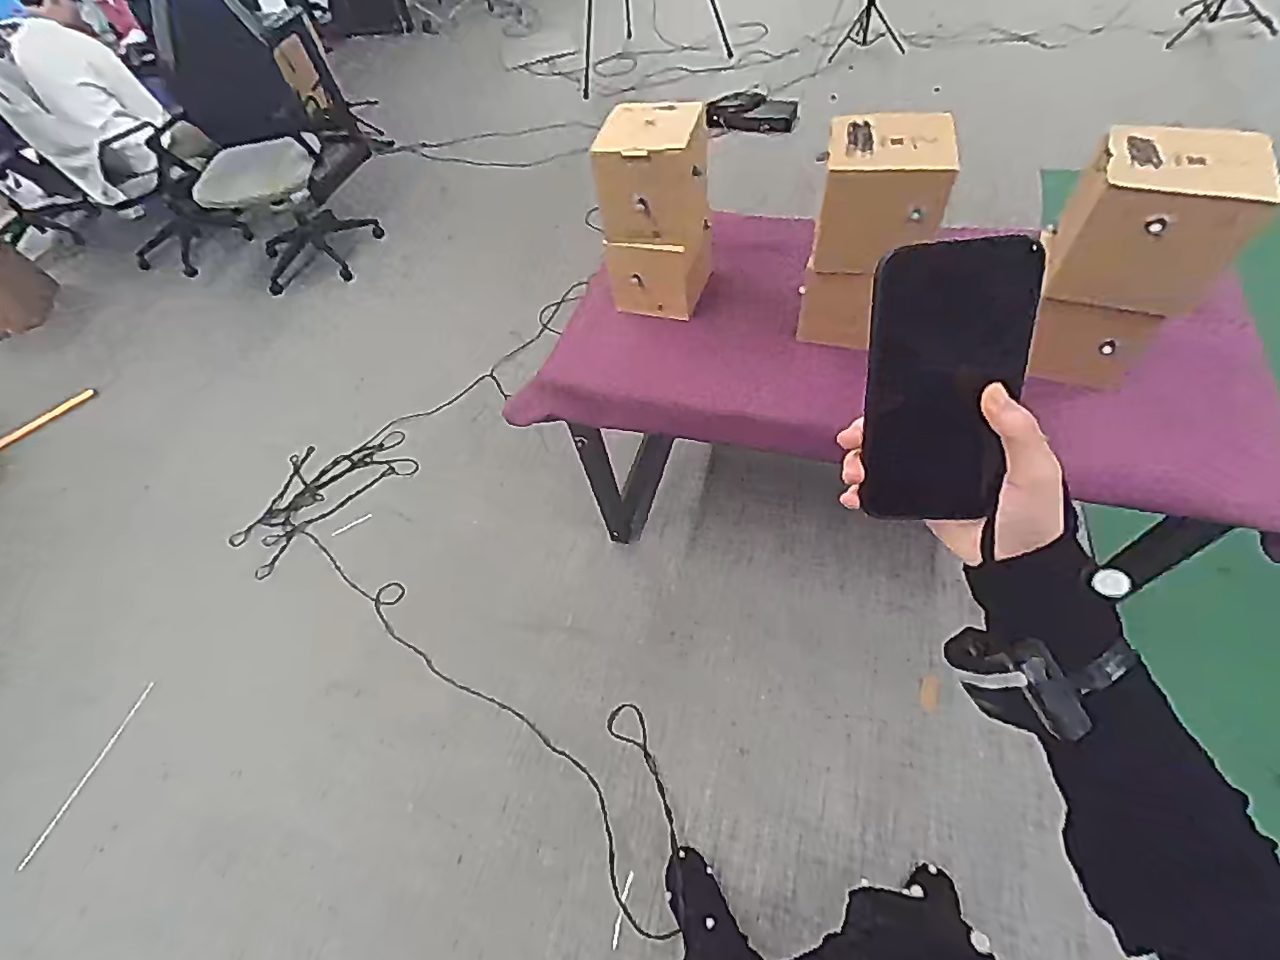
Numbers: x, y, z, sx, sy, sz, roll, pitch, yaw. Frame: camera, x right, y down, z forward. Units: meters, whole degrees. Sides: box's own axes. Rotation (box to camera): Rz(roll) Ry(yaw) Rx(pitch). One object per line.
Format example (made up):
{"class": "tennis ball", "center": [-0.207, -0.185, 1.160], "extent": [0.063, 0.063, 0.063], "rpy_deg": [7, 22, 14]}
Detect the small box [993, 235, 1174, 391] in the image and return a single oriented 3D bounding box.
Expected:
{"class": "small box", "center": [0.720, -0.270, 0.888], "extent": [0.179, 0.176, 0.168], "rpy_deg": [18, 60, 21]}

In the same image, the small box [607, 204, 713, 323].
{"class": "small box", "center": [0.052, -0.452, 1.125], "extent": [0.168, 0.176, 0.179], "rpy_deg": [13, 59, 18]}

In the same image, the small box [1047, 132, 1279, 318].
{"class": "small box", "center": [0.700, -0.348, 0.745], "extent": [0.179, 0.176, 0.168], "rpy_deg": [18, 60, 20]}

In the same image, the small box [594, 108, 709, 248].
{"class": "small box", "center": [0.032, -0.551, 0.996], "extent": [0.168, 0.176, 0.179], "rpy_deg": [9, 58, 15]}

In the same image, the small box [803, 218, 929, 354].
{"class": "small box", "center": [0.409, -0.353, 0.997], "extent": [0.179, 0.176, 0.168], "rpy_deg": [12, 59, 19]}
